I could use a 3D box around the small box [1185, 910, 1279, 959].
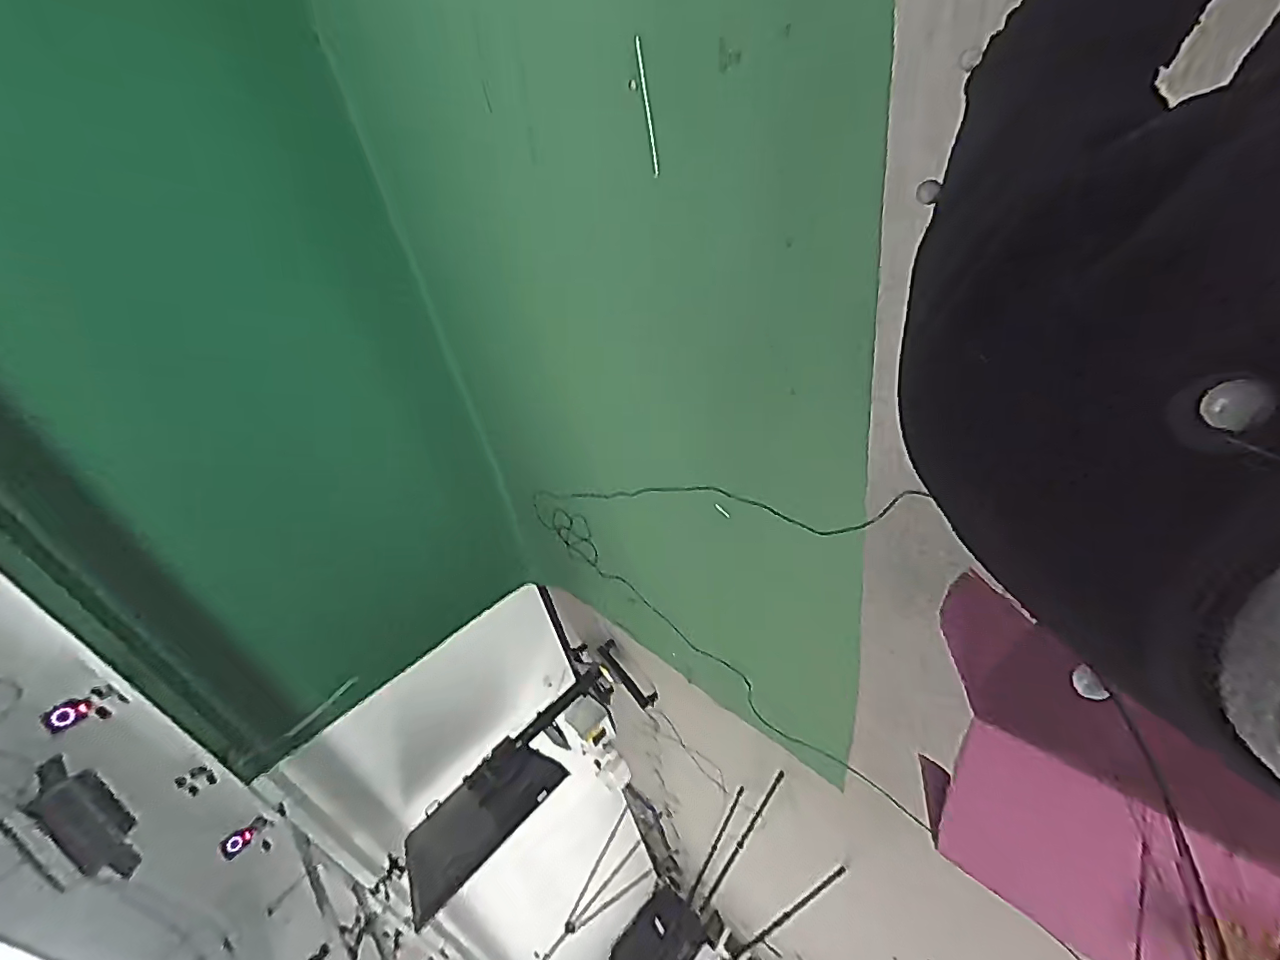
[{"bbox_3d":[0.949,0.829,0.830,0.168,0.176,0.179,10,128,49],"label":"small box"}]
